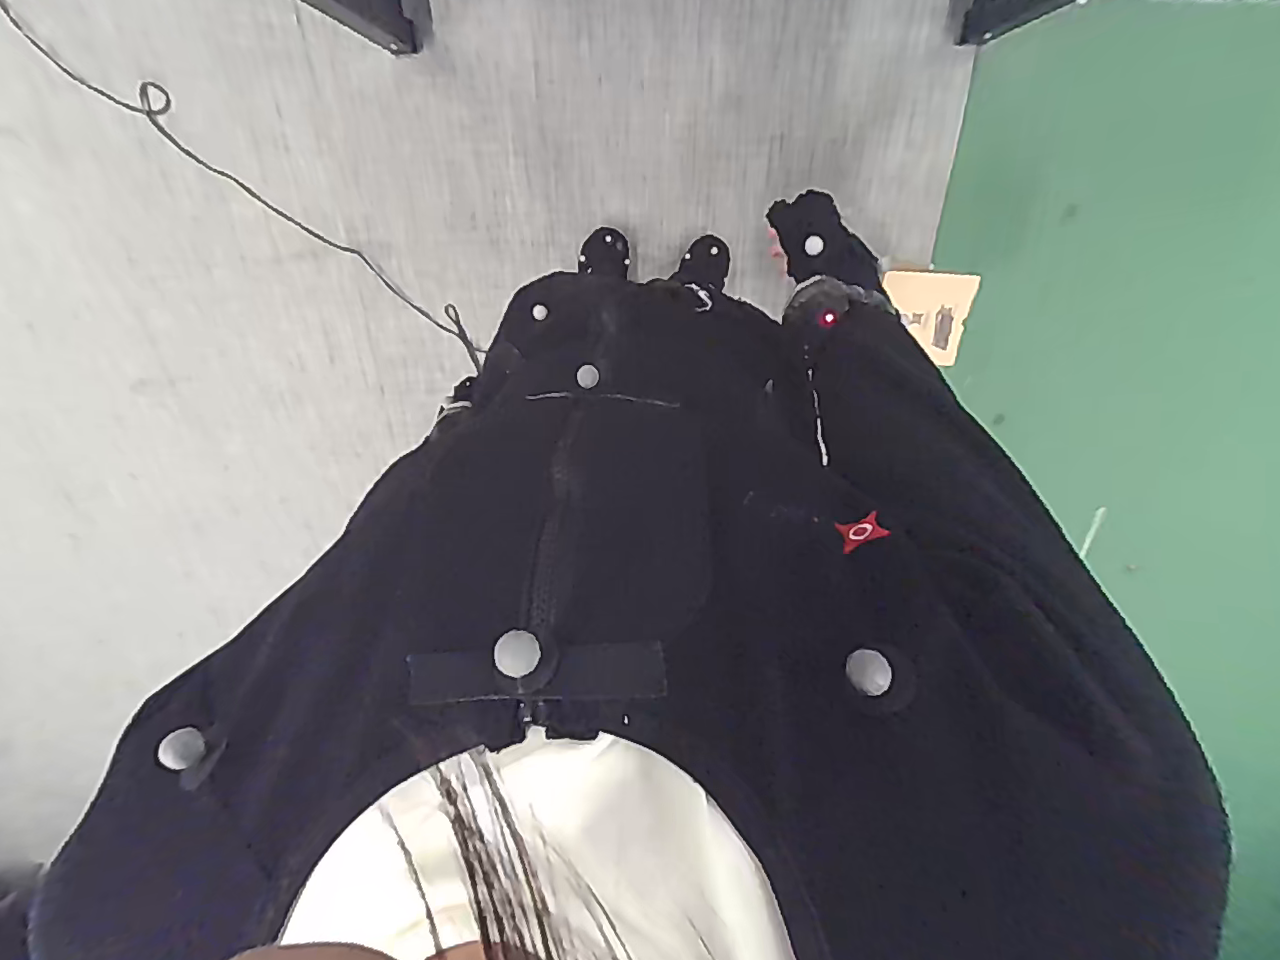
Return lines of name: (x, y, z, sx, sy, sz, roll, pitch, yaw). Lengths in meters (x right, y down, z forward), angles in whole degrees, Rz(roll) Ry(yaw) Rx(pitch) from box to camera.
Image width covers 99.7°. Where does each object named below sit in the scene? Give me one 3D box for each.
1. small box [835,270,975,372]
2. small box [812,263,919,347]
small box: (0.516, -0.322, 1.080, 0.179, 0.176, 0.168, 4, 116, -1)
small box: (0.511, -0.397, 1.227, 0.179, 0.176, 0.168, 4, 116, 0)
